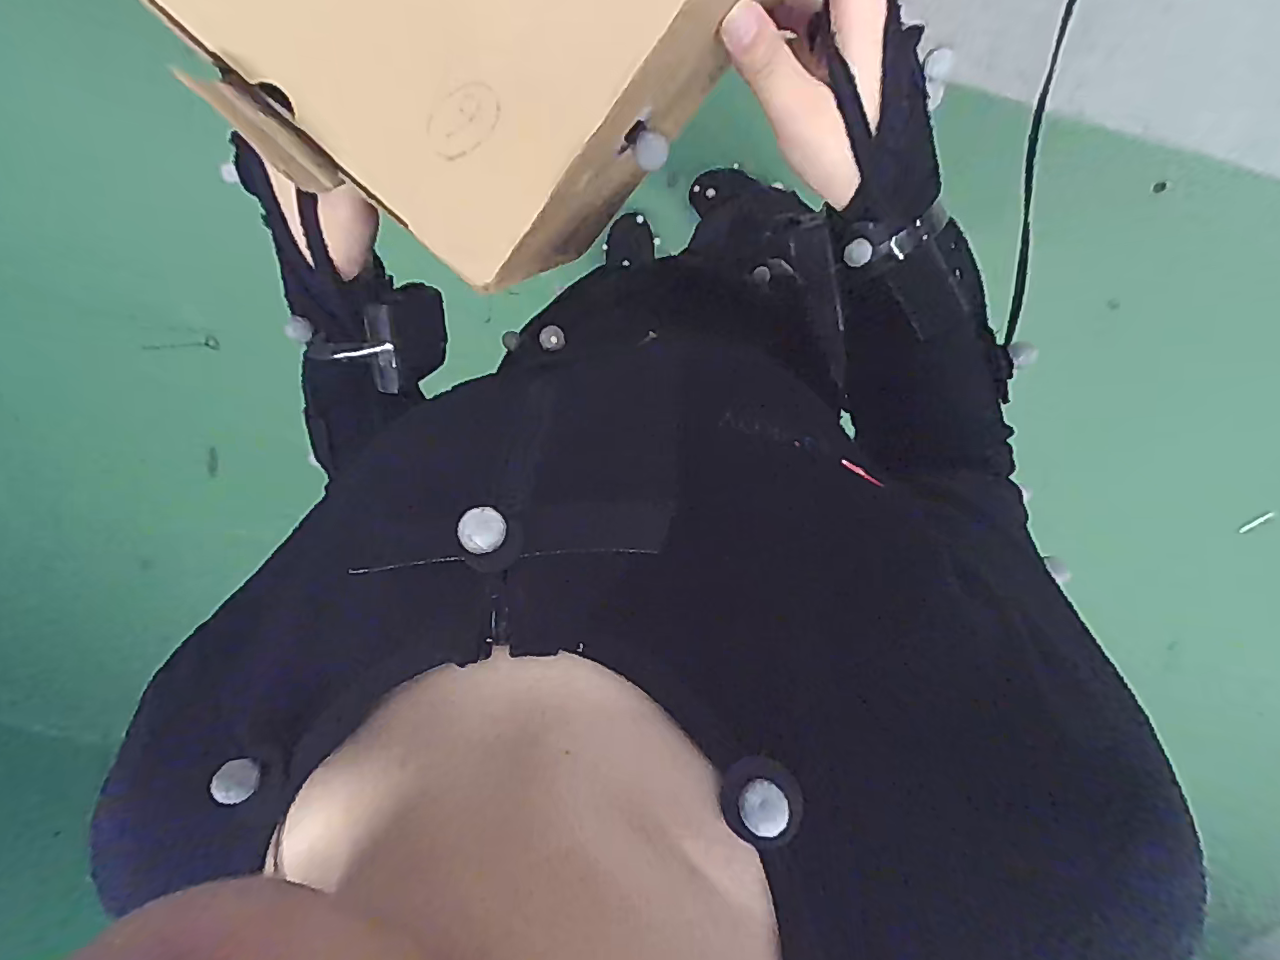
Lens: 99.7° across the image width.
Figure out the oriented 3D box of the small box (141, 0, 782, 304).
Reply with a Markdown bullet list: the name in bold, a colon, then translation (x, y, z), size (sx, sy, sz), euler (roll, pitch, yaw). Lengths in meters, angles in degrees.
- **small box**: translation (-0.047, -0.203, 0.220), size (0.168, 0.176, 0.179), euler (41, 114, -13)
